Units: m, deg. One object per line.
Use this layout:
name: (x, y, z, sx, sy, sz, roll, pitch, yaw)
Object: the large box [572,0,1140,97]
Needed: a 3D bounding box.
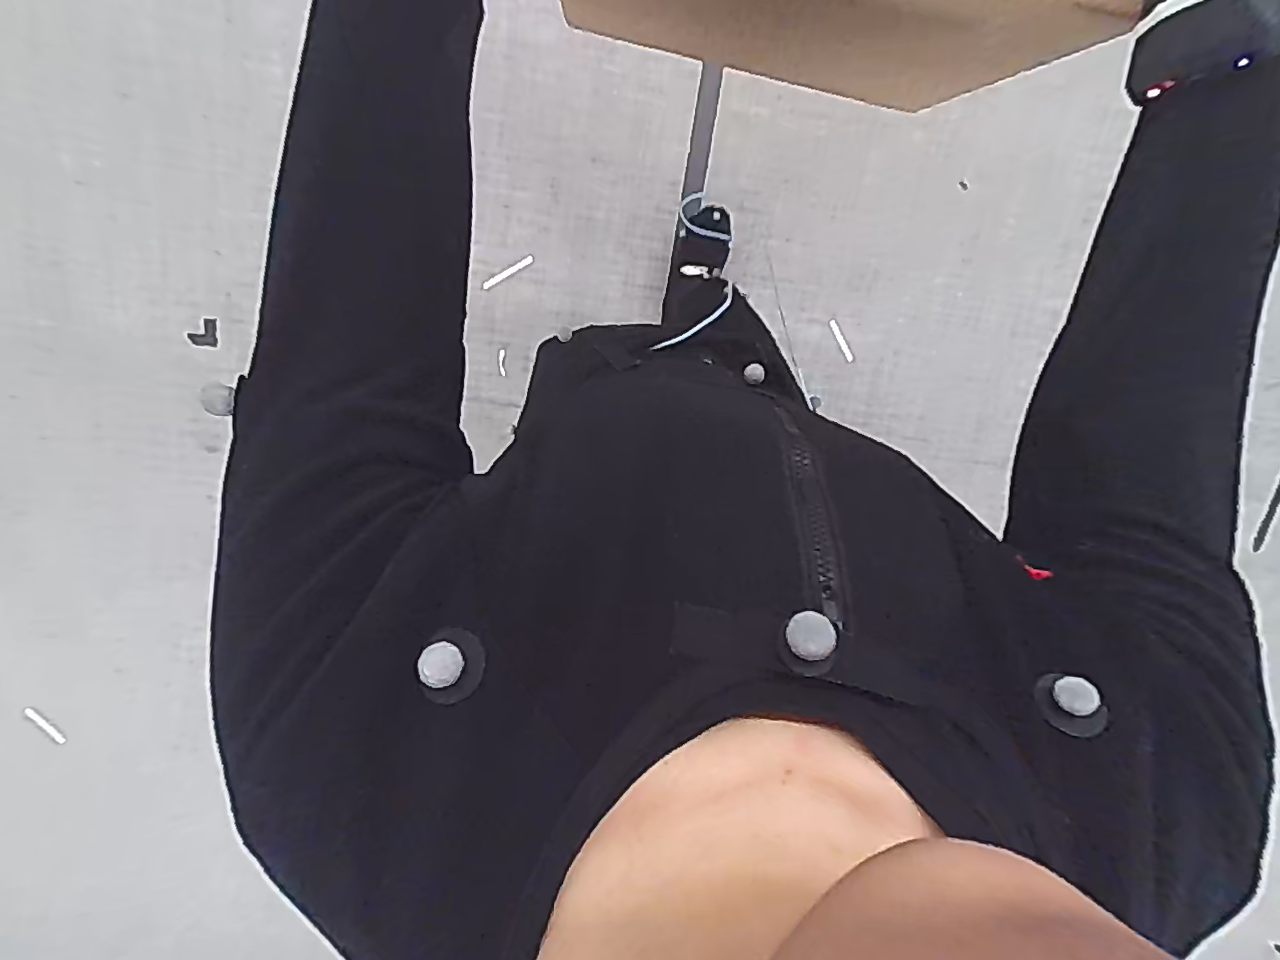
large box: (0.155, -0.537, 0.403, 0.408, 0.320, 0.320, 9, 116, -7)
